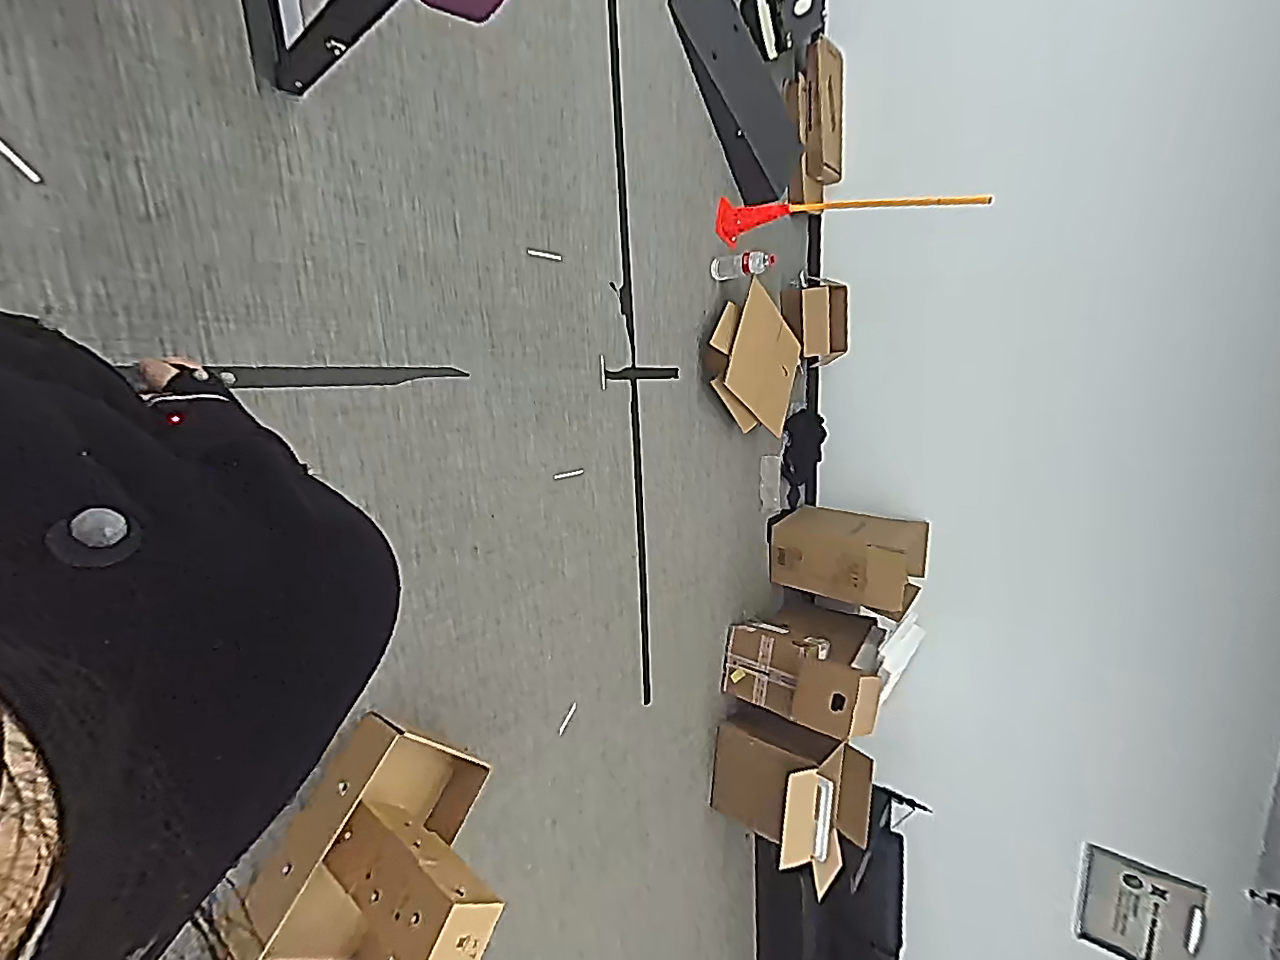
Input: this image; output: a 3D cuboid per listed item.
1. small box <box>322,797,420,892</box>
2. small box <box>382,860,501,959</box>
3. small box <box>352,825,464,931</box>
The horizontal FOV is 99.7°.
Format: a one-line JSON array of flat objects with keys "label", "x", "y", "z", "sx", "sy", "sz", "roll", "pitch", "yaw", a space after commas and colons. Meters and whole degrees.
[{"label": "small box", "x": -0.734, "y": 1.016, "z": 1.504, "sx": 0.179, "sy": 0.176, "sz": 0.168, "roll": 52, "pitch": 57, "yaw": -41}, {"label": "small box", "x": -0.480, "y": 1.048, "z": 1.302, "sx": 0.179, "sy": 0.176, "sz": 0.168, "roll": 46, "pitch": 62, "yaw": -44}, {"label": "small box", "x": -0.605, "y": 1.028, "z": 1.408, "sx": 0.179, "sy": 0.176, "sz": 0.168, "roll": 48, "pitch": 61, "yaw": -45}]
